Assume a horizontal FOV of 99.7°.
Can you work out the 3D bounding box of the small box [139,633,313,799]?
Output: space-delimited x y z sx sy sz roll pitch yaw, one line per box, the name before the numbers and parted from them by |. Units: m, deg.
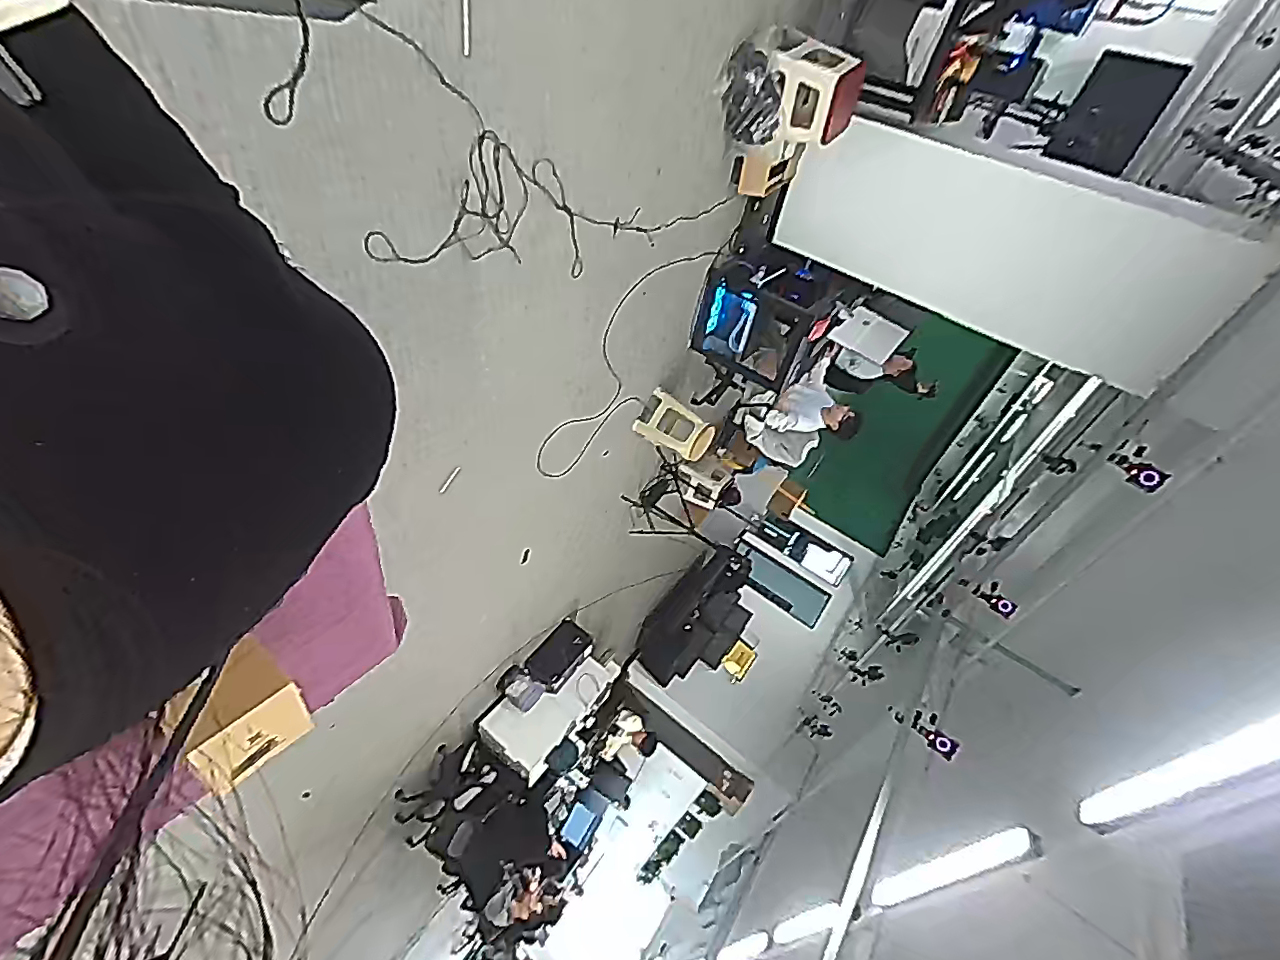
small box | -0.712 0.403 0.942 0.168 0.176 0.179 -38 152 -43
